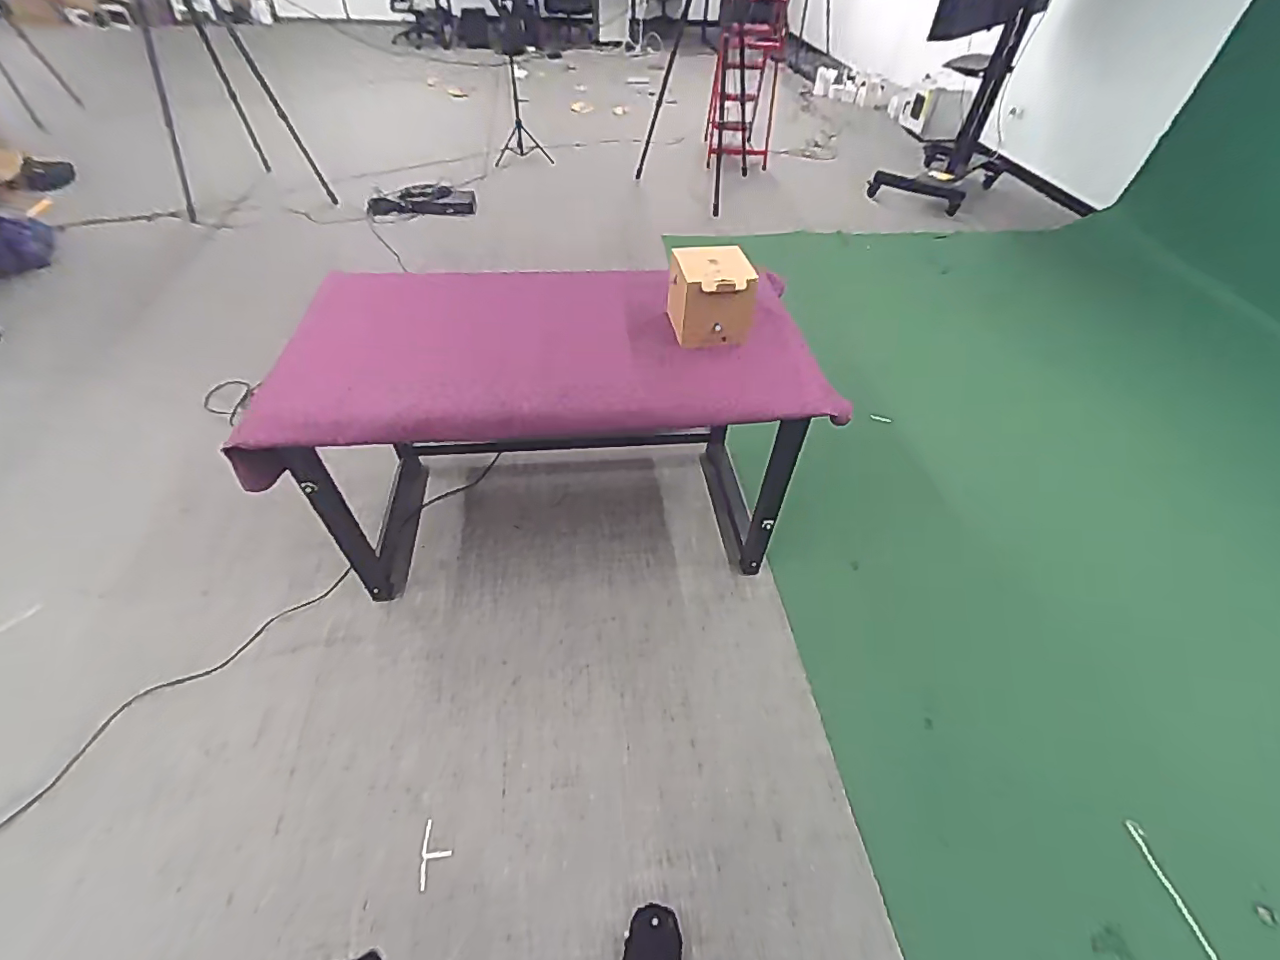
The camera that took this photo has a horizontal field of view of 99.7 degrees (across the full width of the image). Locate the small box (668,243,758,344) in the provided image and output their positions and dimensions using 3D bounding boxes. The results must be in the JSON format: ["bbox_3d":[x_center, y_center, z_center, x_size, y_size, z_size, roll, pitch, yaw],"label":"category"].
[{"bbox_3d":[0.165,-0.446,1.293,0.168,0.176,0.179,-6,49,-7],"label":"small box"}]
